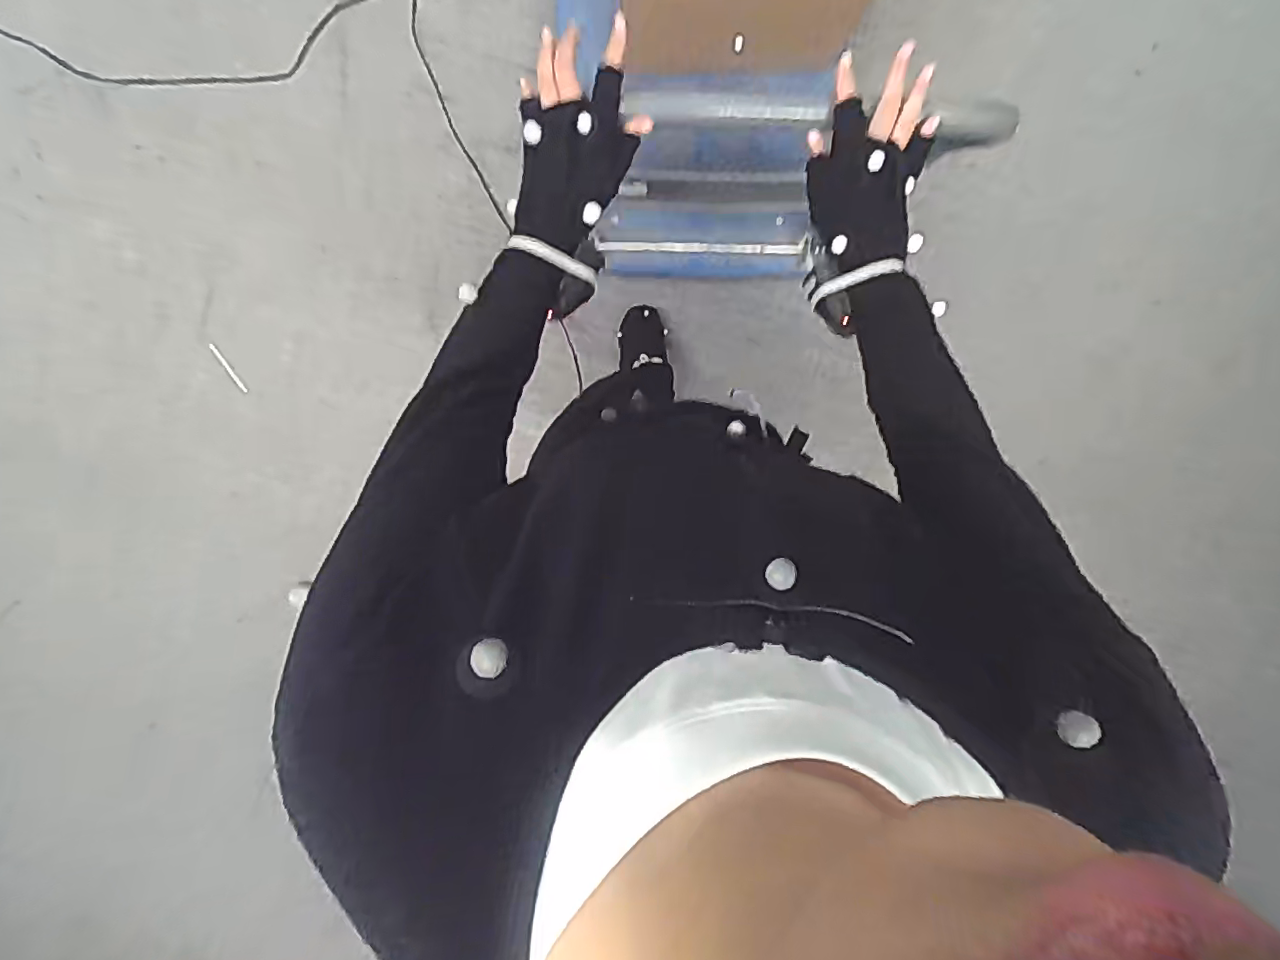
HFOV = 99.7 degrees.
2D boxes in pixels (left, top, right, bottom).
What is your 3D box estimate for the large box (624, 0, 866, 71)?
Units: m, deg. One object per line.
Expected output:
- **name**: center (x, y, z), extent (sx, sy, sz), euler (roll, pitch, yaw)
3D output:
- **large box**: center (0.171, -0.937, 0.904), extent (0.408, 0.320, 0.320), euler (-2, 104, 1)
